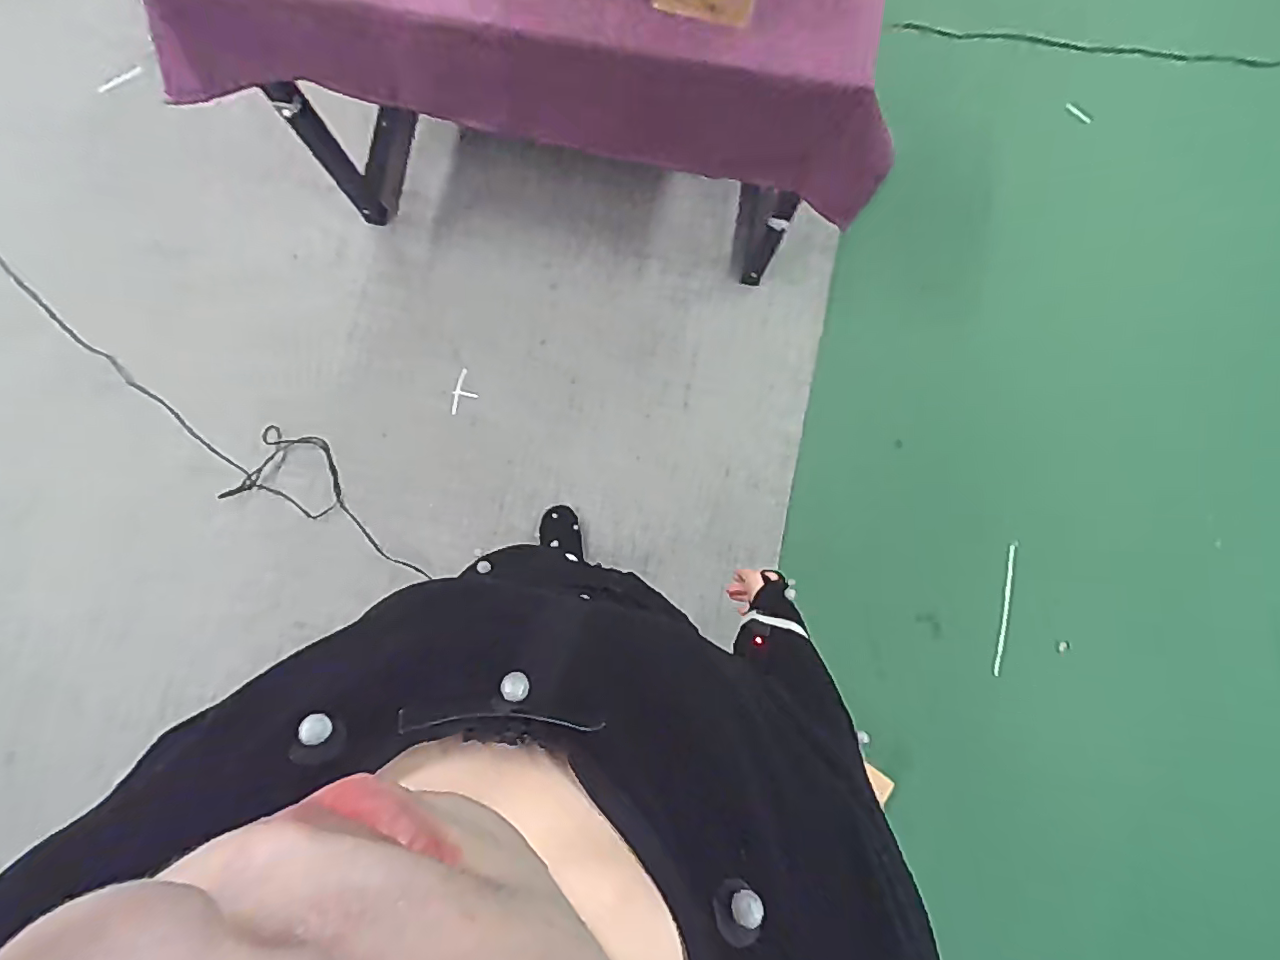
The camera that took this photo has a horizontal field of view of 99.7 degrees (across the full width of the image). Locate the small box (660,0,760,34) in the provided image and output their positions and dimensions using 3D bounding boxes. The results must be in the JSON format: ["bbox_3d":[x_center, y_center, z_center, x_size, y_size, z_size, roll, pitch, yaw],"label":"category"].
[{"bbox_3d":[0.129,-0.854,0.833,0.168,0.176,0.179,15,83,0],"label":"small box"}]
